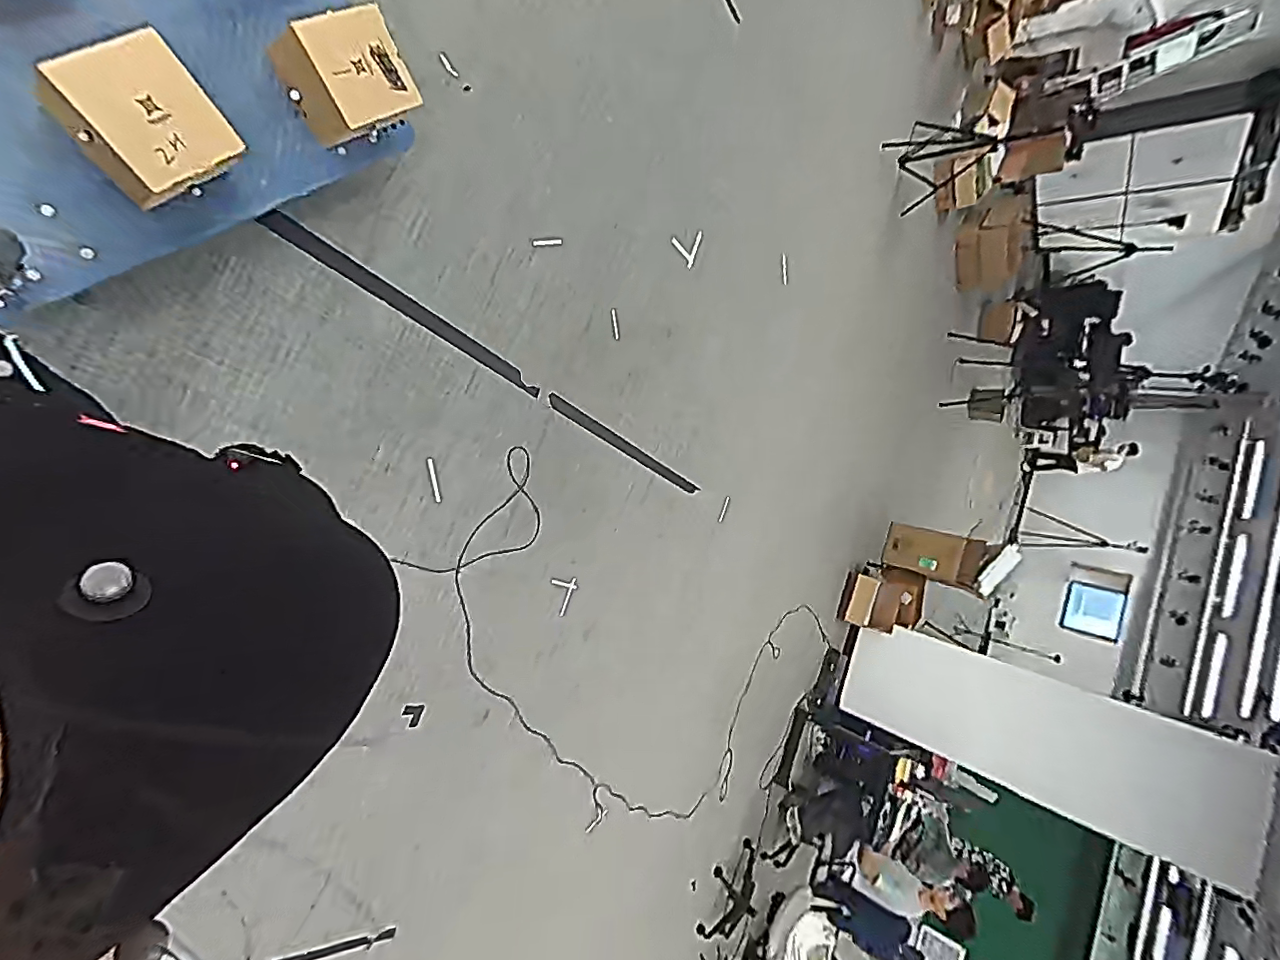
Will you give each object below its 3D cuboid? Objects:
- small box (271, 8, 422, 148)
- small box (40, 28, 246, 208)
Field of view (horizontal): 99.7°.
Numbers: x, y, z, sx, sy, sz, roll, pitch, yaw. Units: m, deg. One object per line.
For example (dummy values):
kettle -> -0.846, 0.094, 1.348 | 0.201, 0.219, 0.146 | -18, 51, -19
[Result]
small box -> -0.575, -0.782, 1.061 | 0.179, 0.176, 0.168 | -46, 130, -30
small box -> -0.794, -0.569, 0.868 | 0.168, 0.176, 0.179 | -51, 133, -27
